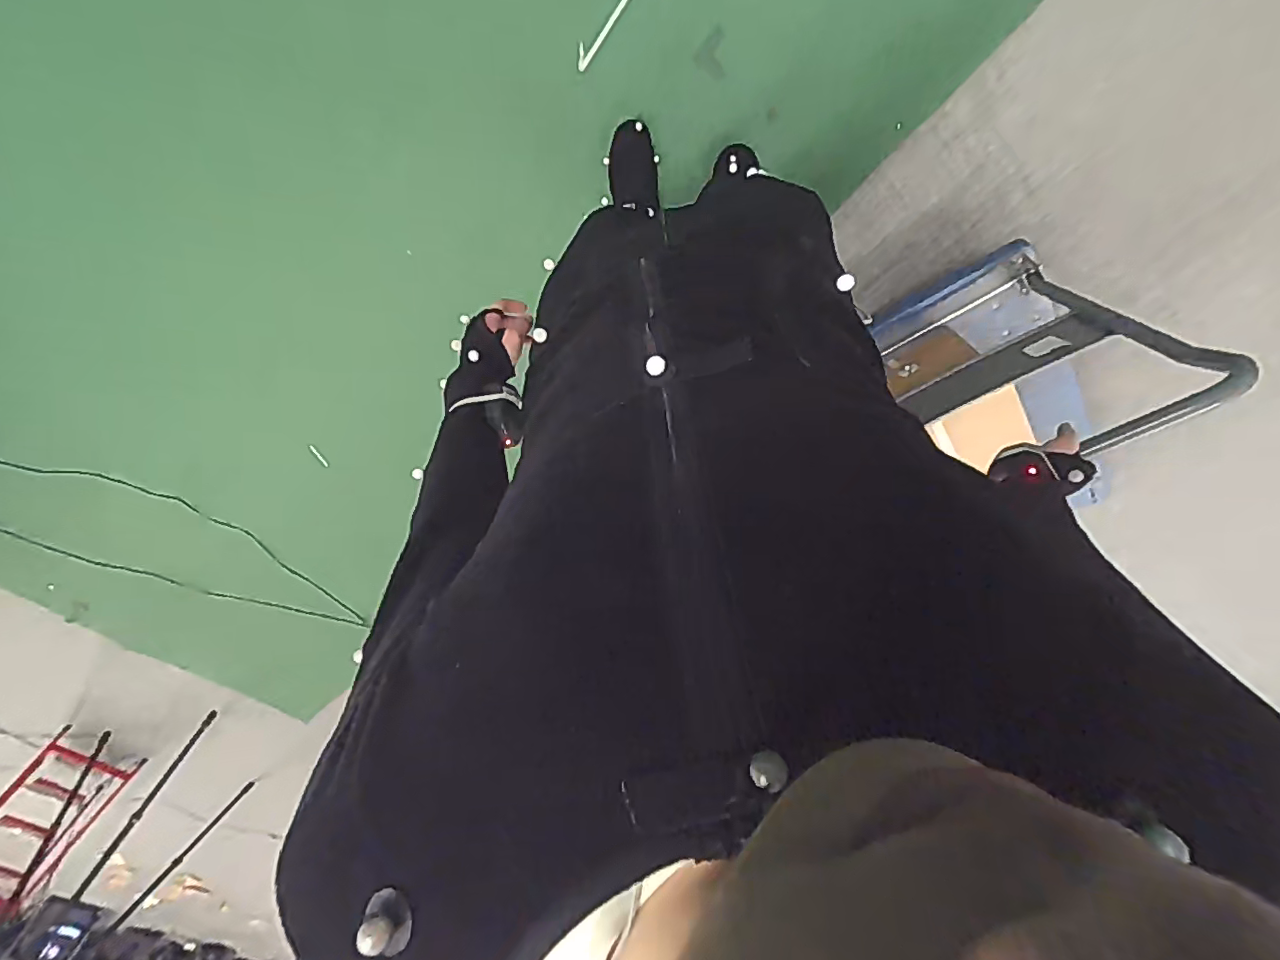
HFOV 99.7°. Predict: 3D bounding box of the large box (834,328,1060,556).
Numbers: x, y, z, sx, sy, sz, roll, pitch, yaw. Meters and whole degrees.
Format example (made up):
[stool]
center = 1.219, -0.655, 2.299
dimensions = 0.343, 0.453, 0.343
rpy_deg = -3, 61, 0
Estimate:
[large box]
center = 0.744, -0.094, 1.351
dimensions = 0.320, 0.320, 0.408
rpy_deg = -30, 119, 23
